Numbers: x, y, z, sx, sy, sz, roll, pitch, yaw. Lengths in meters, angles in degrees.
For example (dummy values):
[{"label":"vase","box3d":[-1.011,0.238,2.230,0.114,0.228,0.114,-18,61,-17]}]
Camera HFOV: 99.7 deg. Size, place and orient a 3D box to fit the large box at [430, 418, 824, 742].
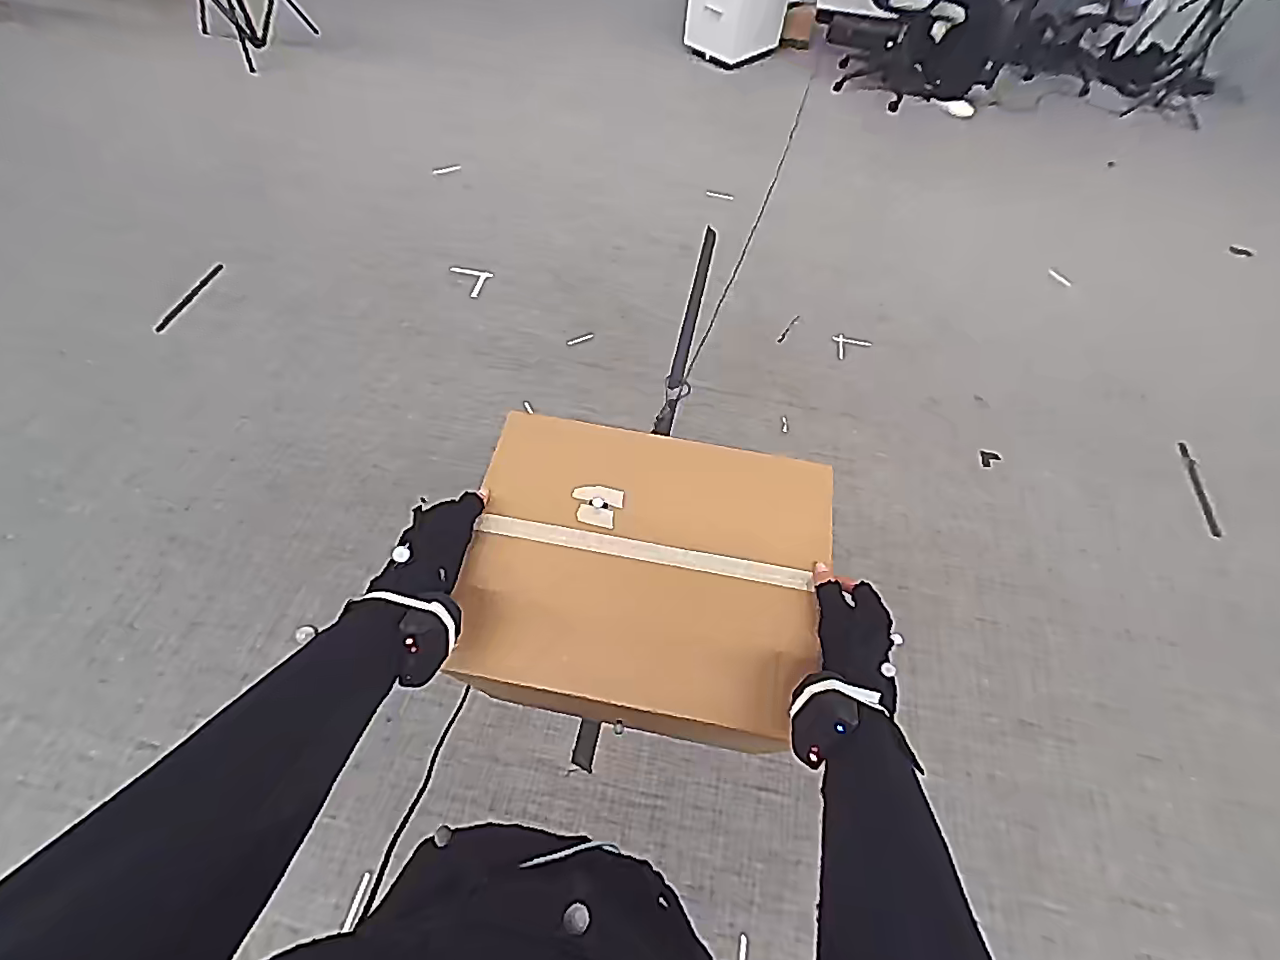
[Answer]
[{"label":"large box","box3d":[0.005,0.153,0.738,0.408,0.320,0.320,10,61,5]}]
